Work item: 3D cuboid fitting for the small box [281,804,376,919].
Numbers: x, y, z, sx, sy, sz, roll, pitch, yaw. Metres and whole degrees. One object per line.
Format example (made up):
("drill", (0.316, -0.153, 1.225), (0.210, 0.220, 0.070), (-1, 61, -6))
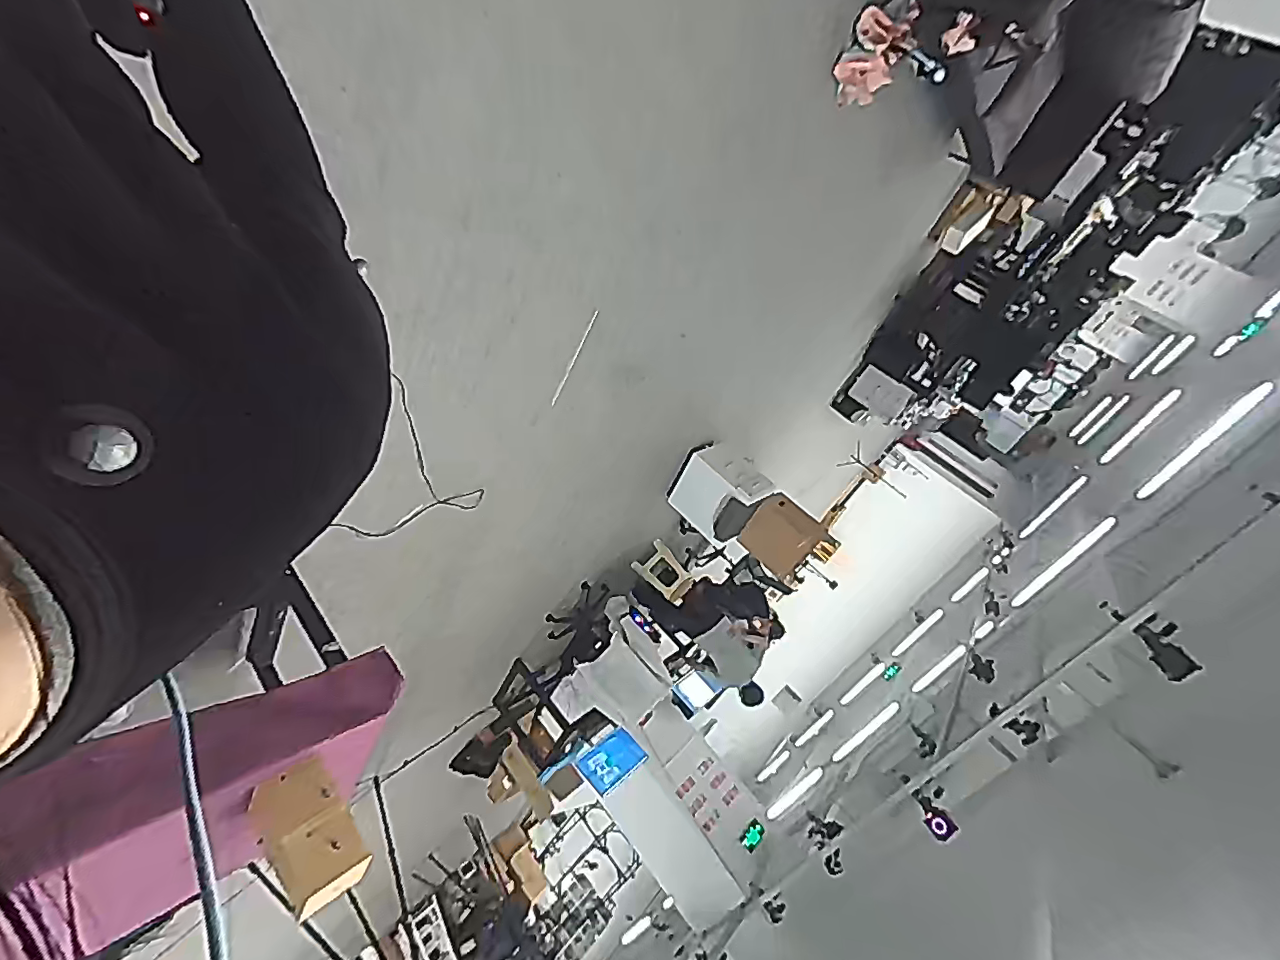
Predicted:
("small box", (-0.853, 1.028, 1.474), (0.168, 0.176, 0.179), (-14, 142, -50))
